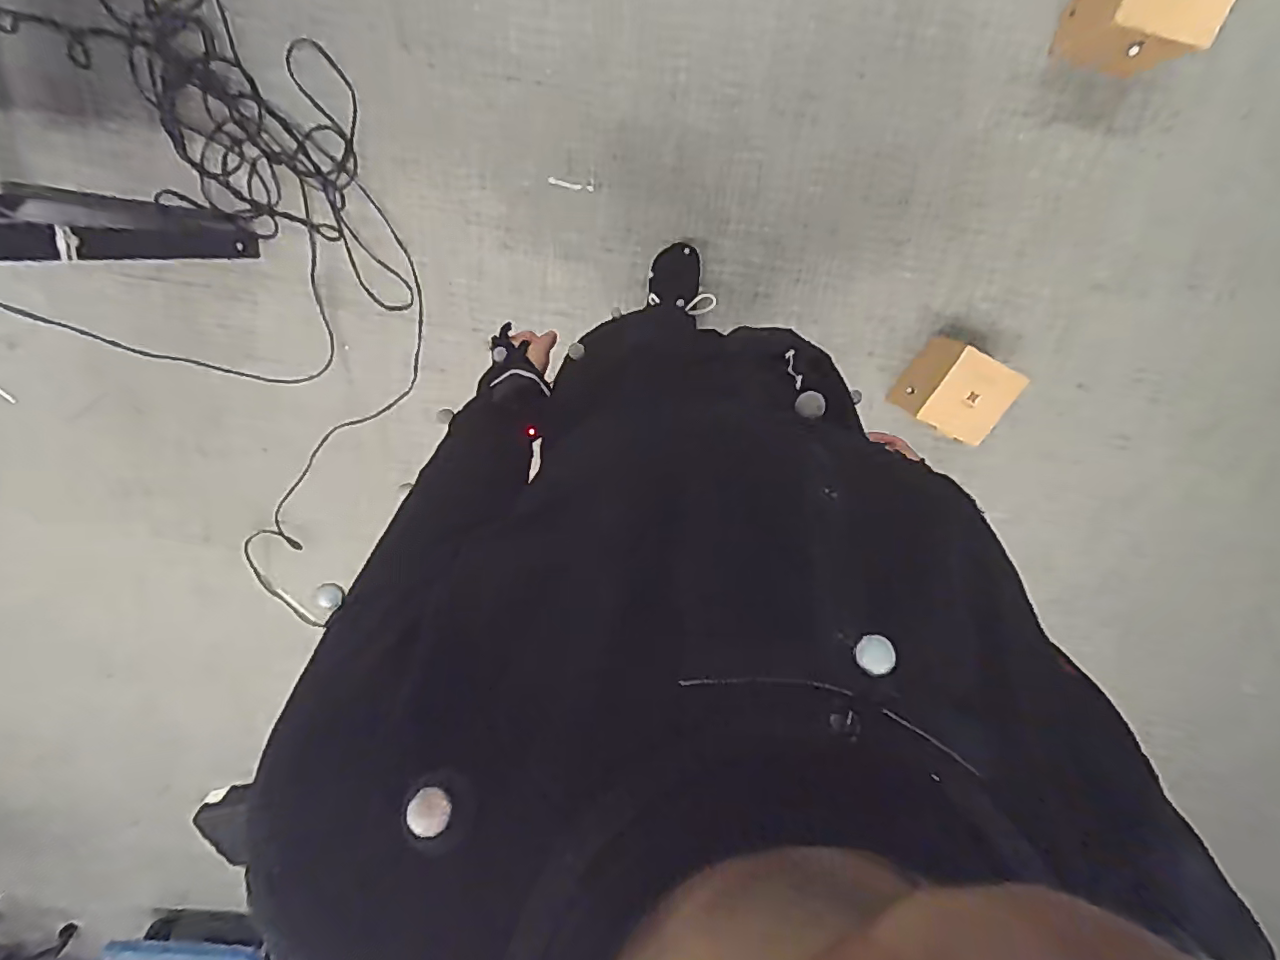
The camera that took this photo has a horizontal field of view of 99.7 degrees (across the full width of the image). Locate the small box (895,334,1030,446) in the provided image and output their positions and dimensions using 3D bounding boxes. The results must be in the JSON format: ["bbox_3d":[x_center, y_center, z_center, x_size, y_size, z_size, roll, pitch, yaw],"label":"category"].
[{"bbox_3d":[0.709,-0.207,1.218,0.168,0.176,0.179,24,110,-9],"label":"small box"}]

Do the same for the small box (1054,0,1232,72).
[{"bbox_3d":[0.893,-0.849,0.946,0.179,0.176,0.168,13,112,-2],"label":"small box"}]
